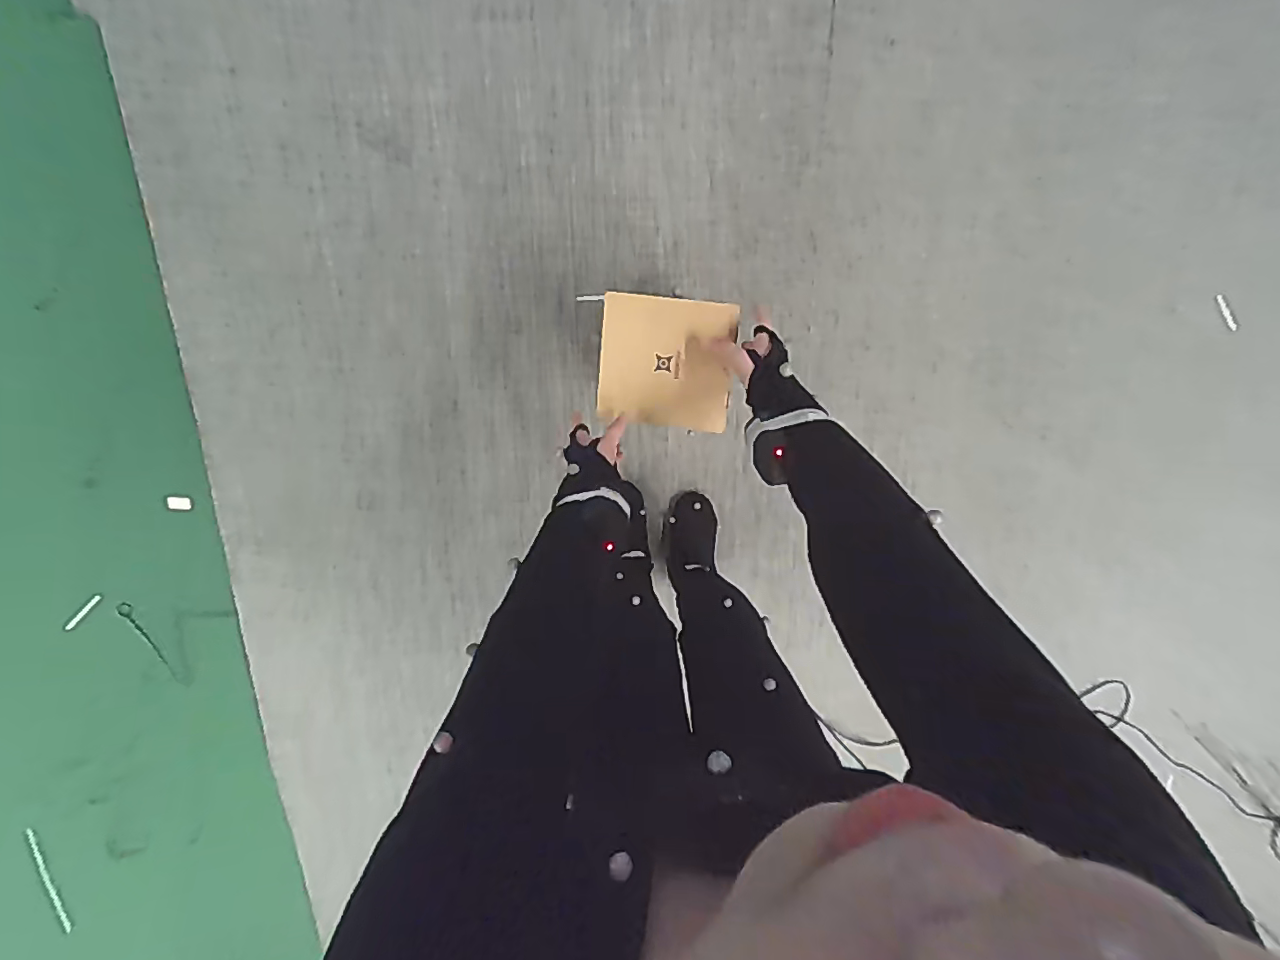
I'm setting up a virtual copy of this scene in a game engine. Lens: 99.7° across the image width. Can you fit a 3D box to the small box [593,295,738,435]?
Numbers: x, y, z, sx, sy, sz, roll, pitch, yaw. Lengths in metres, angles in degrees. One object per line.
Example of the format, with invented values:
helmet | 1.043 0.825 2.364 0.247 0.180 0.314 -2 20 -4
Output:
small box | 0.028 -0.166 0.780 0.179 0.176 0.168 4 105 -5
